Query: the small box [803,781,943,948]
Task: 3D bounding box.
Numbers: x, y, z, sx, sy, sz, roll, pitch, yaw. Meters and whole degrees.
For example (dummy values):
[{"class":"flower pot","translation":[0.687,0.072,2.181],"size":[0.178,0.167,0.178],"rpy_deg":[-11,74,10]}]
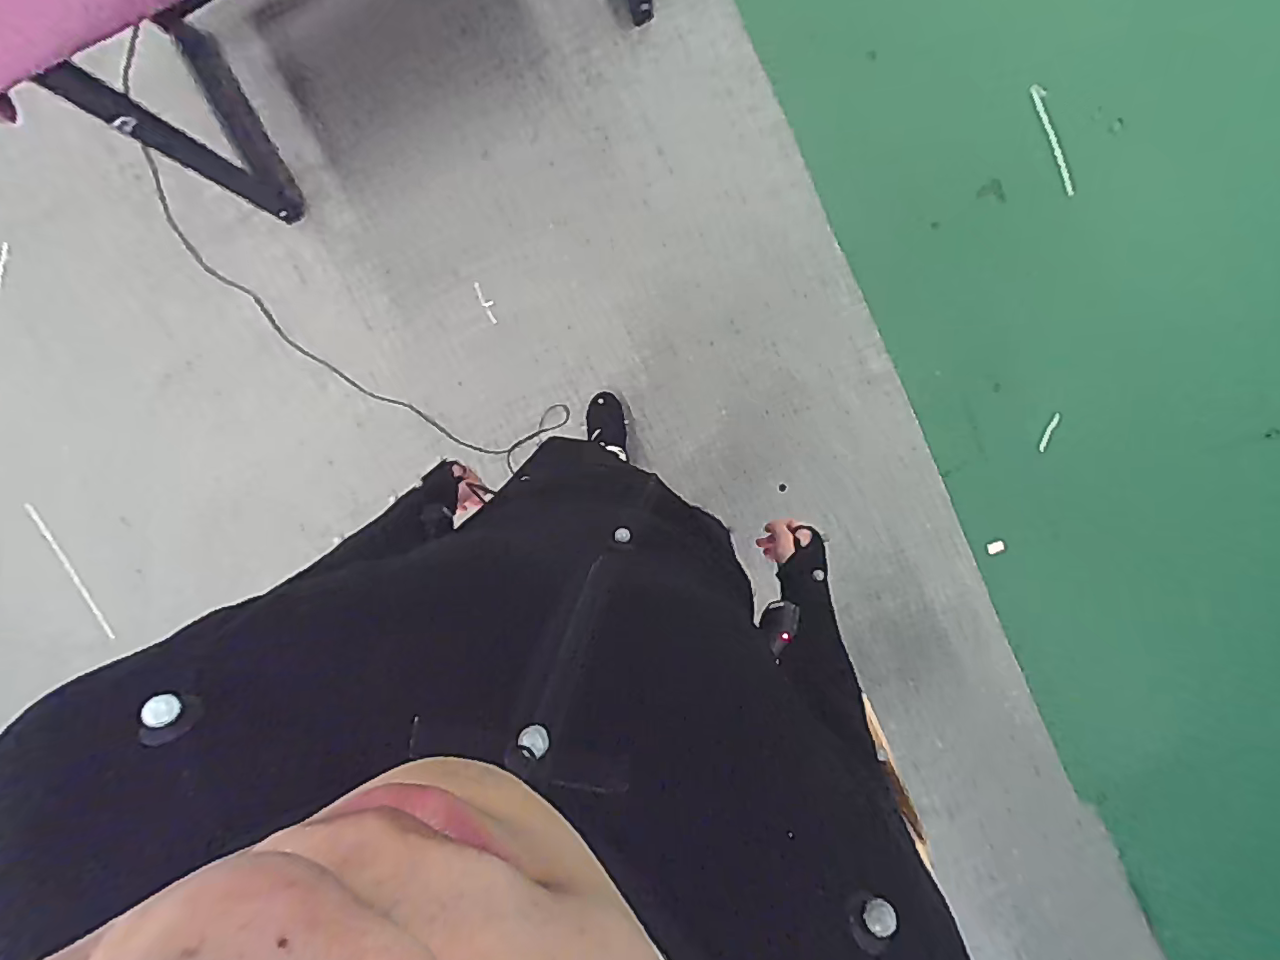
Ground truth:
[{"class":"small box","translation":[0.441,0.733,1.048],"size":[0.168,0.176,0.179],"rpy_deg":[-22,96,1]}]
